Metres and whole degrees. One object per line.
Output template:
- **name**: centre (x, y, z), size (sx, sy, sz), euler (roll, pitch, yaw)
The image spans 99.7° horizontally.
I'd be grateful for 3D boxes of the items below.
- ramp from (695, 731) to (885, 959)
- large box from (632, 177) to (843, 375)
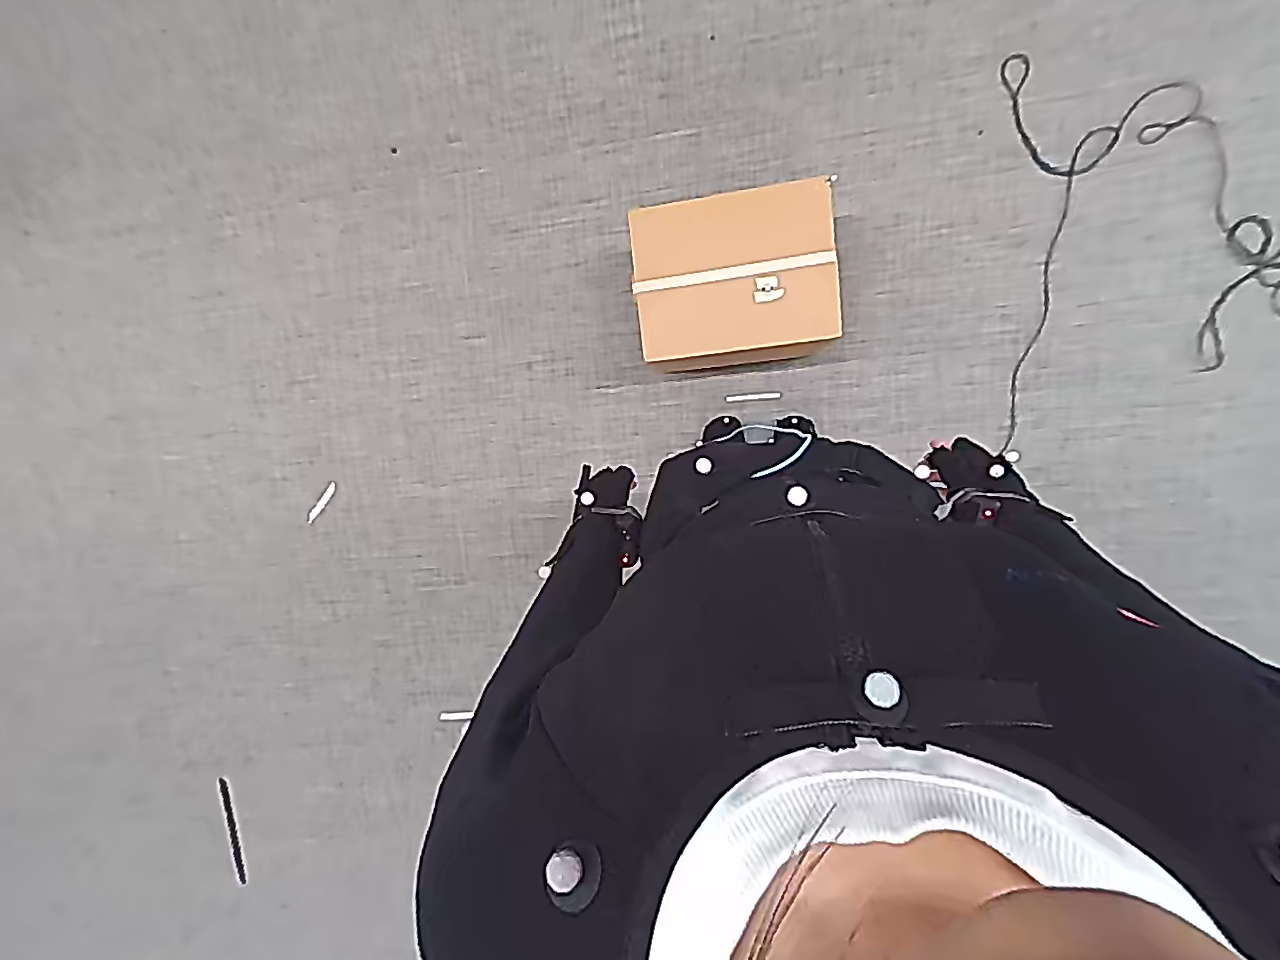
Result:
- **ramp**: centre (0.401, 1.205, 1.466), size (0.509, 0.206, 0.991), euler (-3, 95, 11)
- **large box**: centre (0.217, -0.436, 1.249), size (0.408, 0.320, 0.320), euler (-6, 96, 10)
